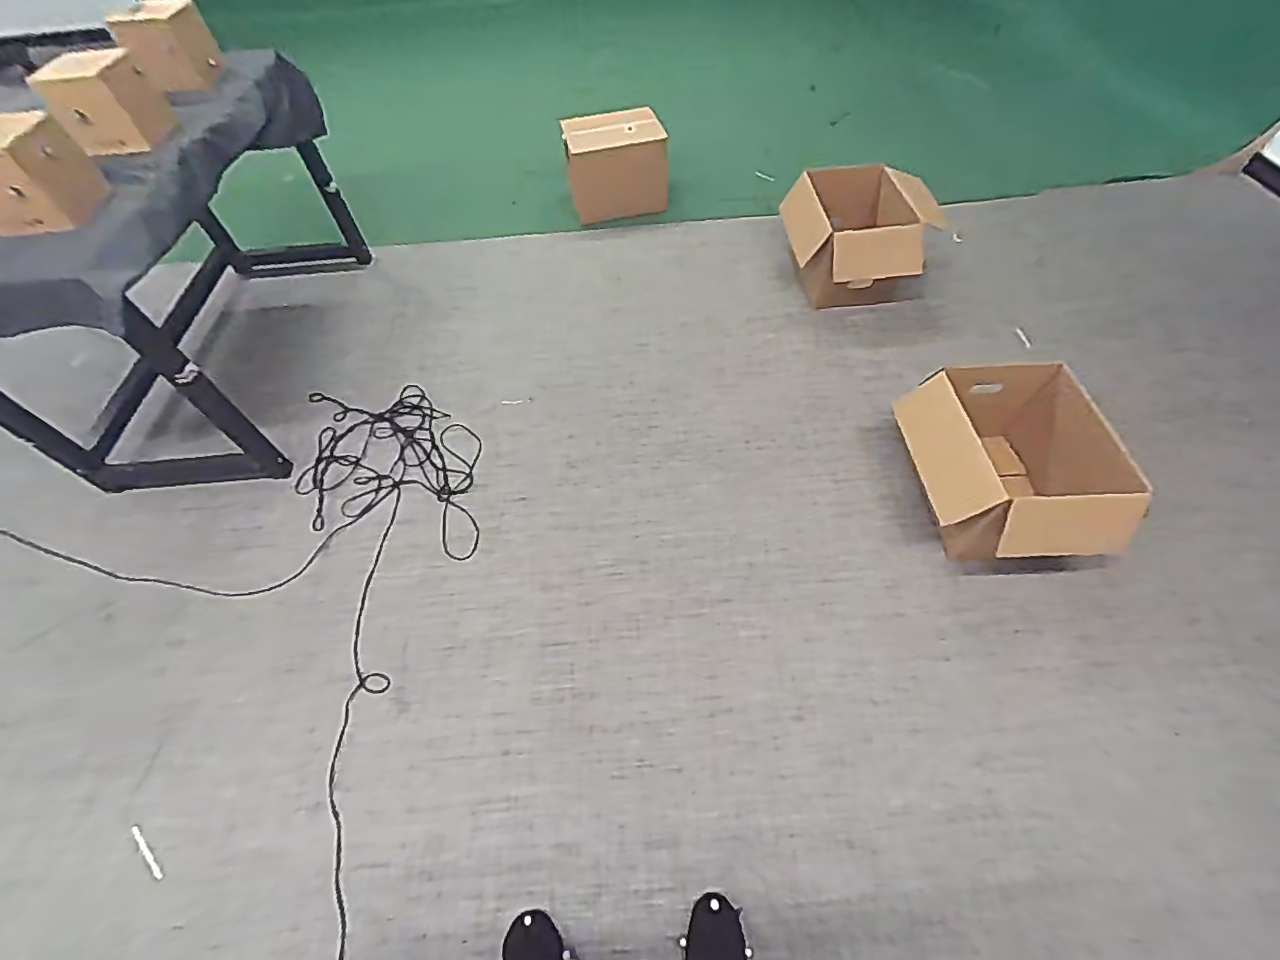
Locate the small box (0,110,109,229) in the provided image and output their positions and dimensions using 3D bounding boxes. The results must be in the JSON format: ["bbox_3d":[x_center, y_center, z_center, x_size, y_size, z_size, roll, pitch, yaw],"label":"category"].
[{"bbox_3d":[-1.299,-0.649,1.142,0.168,0.176,0.179,-4,54,-2],"label":"small box"}]

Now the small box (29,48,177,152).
[{"bbox_3d":[-1.320,-0.940,1.348,0.168,0.176,0.179,-4,55,0],"label":"small box"}]
